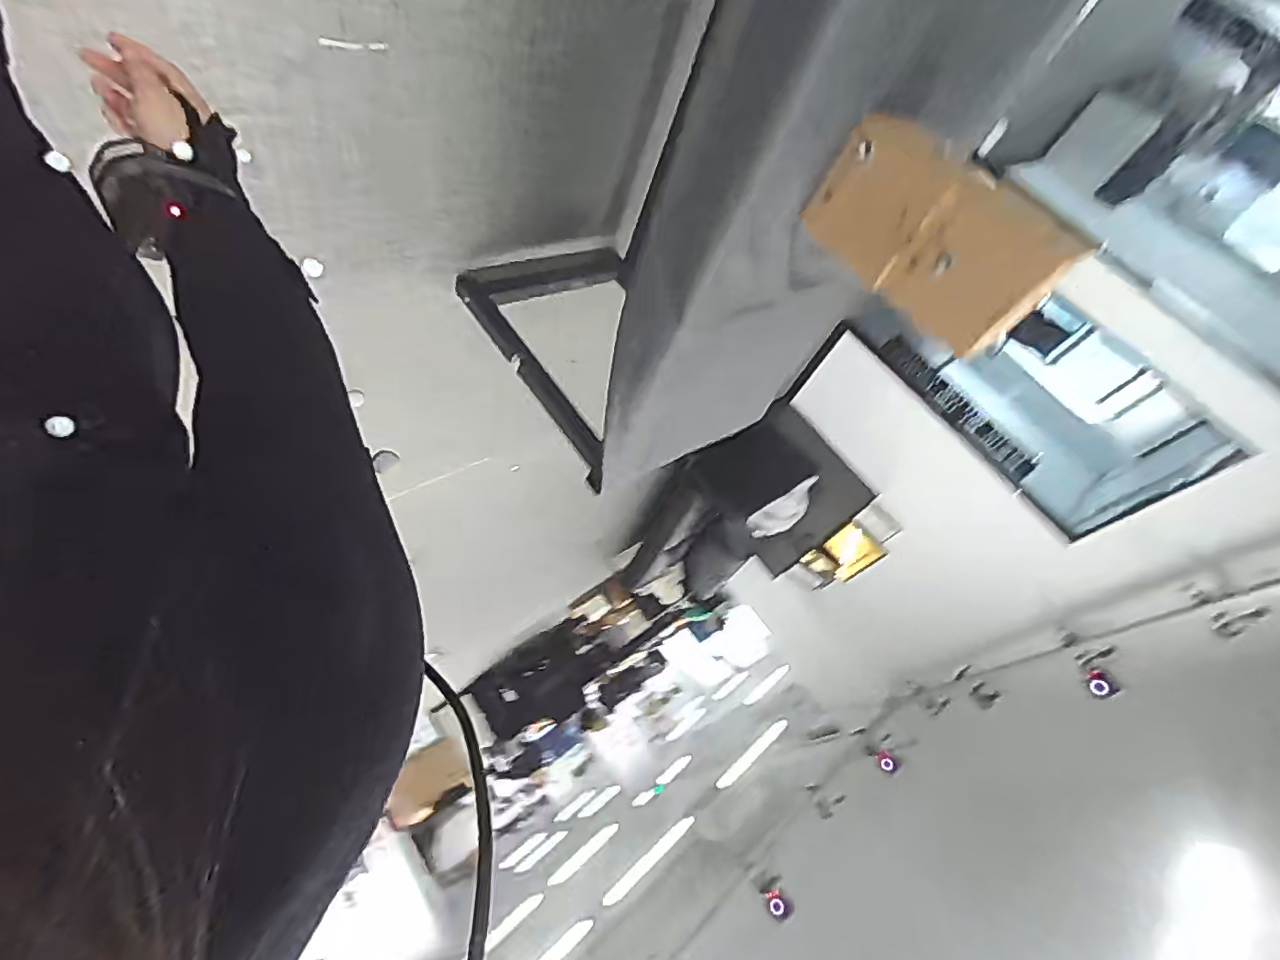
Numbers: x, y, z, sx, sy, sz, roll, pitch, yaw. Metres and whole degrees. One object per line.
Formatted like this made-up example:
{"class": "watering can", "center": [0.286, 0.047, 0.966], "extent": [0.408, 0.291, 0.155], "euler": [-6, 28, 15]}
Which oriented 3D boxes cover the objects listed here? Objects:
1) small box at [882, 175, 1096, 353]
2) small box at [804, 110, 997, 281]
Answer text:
{"class": "small box", "center": [0.500, -0.319, 0.789], "extent": [0.179, 0.176, 0.168], "euler": [-26, 159, -35]}
{"class": "small box", "center": [0.389, -0.436, 0.829], "extent": [0.179, 0.176, 0.168], "euler": [-26, 160, -37]}
